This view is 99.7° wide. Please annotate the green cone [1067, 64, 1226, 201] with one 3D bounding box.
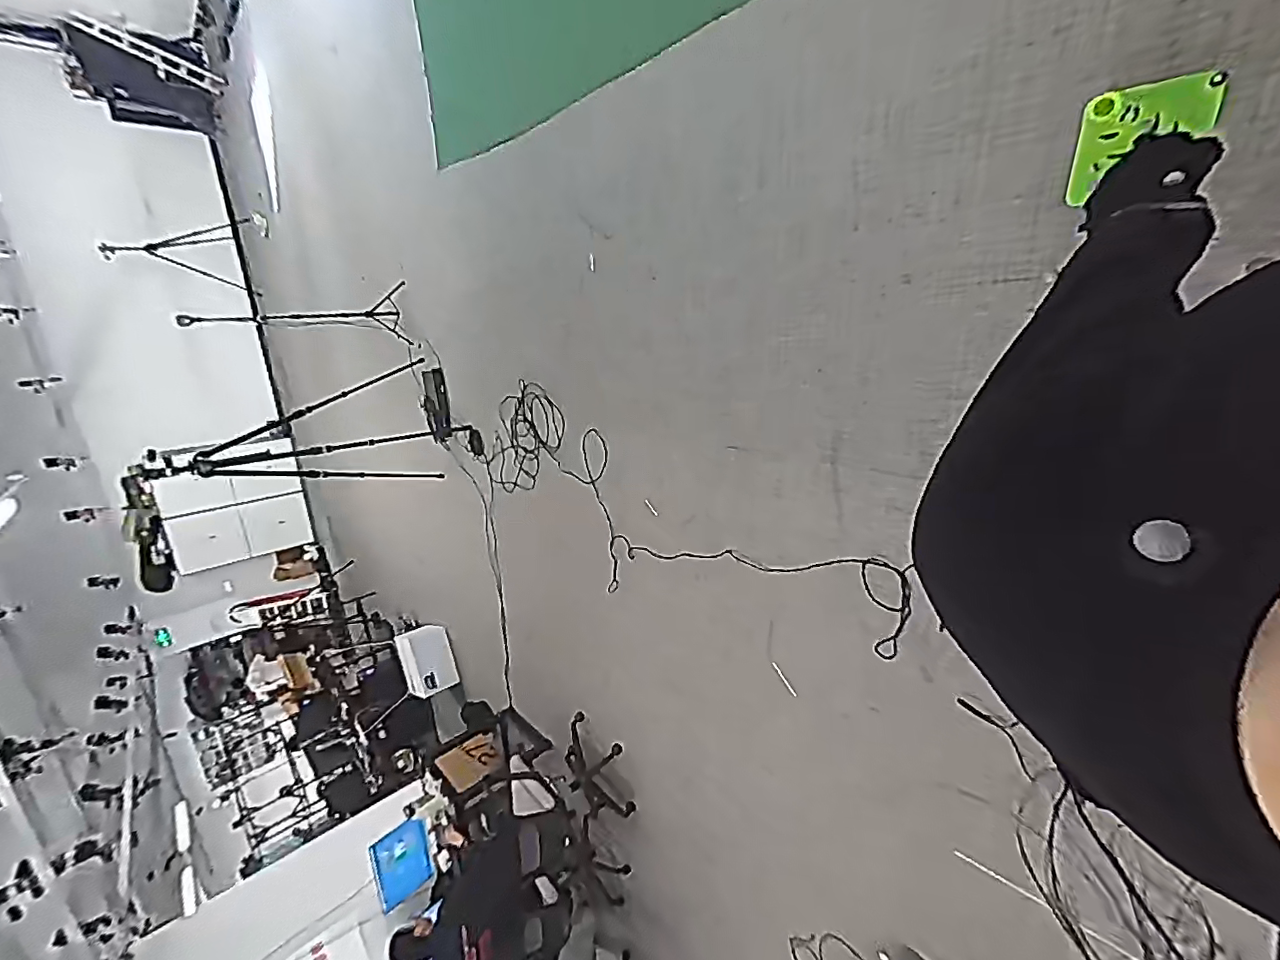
[{"bbox_3d":[0.835,-0.617,0.934,0.200,0.368,0.202,18,118,46],"label":"green cone"}]
